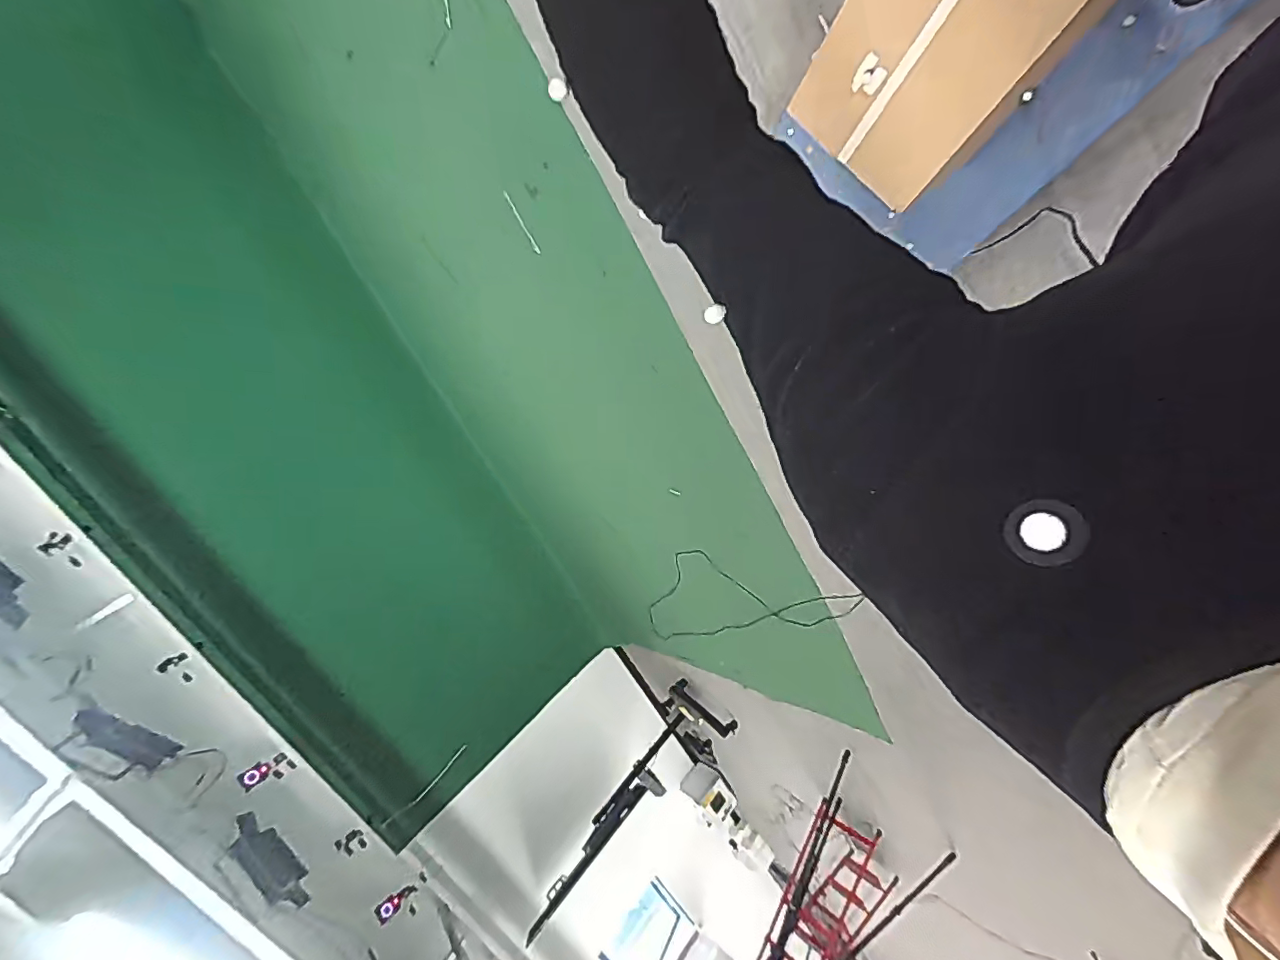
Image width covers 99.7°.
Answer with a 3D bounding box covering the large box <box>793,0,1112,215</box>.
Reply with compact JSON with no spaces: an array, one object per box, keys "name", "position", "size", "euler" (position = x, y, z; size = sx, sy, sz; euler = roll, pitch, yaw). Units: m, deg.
[{"name":"large box","position":[0.558,-0.781,0.953],"size":[0.320,0.320,0.408],"euler":[47,152,6]}]
